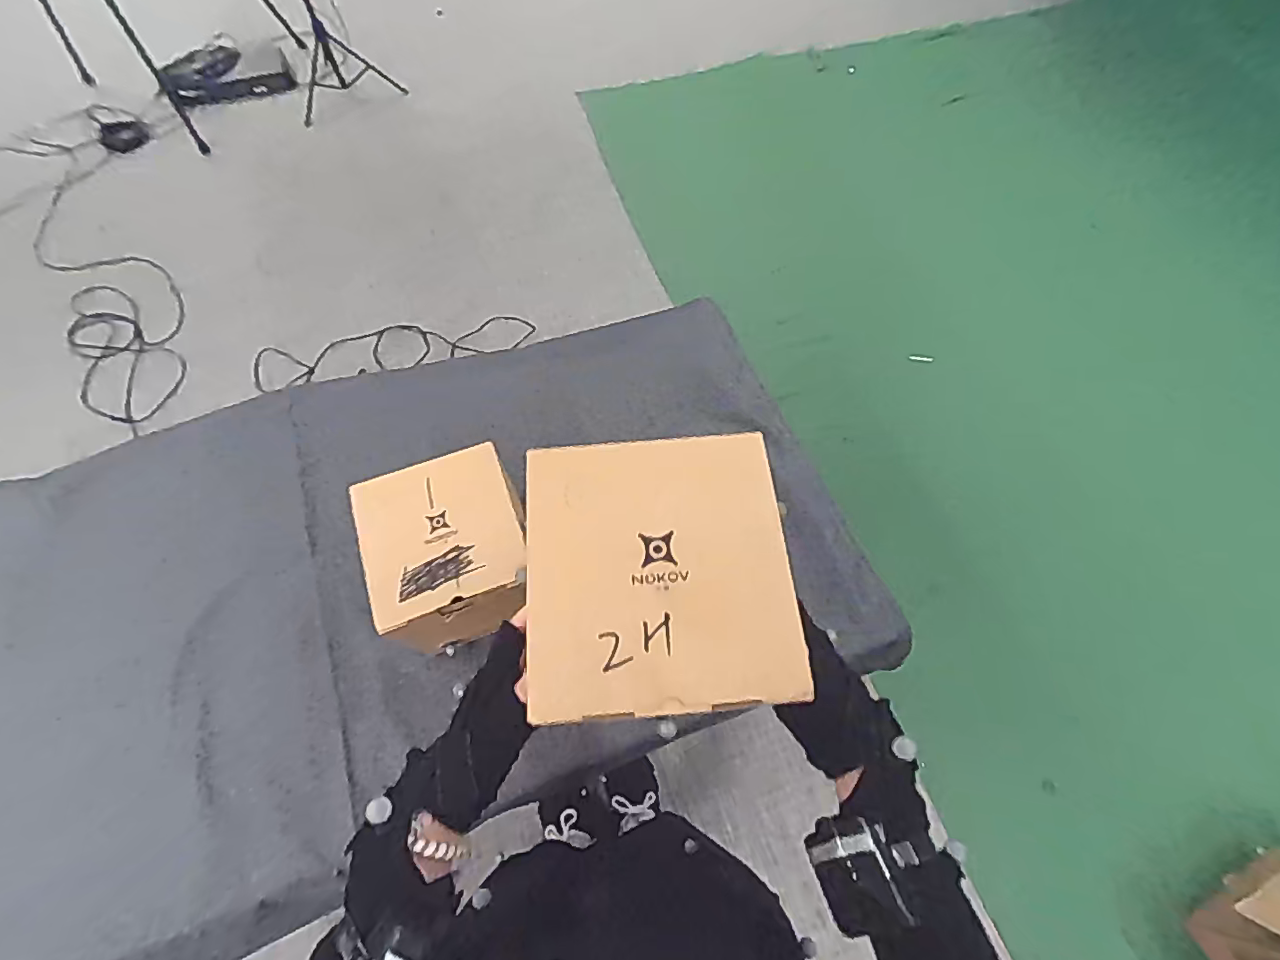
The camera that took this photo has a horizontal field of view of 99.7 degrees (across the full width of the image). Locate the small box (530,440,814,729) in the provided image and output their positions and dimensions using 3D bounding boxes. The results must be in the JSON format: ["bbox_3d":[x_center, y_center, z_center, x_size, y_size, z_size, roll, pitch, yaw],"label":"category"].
[{"bbox_3d":[0.013,0.089,0.413,0.168,0.176,0.179,-5,66,-1],"label":"small box"}]

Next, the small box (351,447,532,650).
[{"bbox_3d":[-0.217,0.093,0.656,0.168,0.176,0.179,-20,65,-10],"label":"small box"}]
